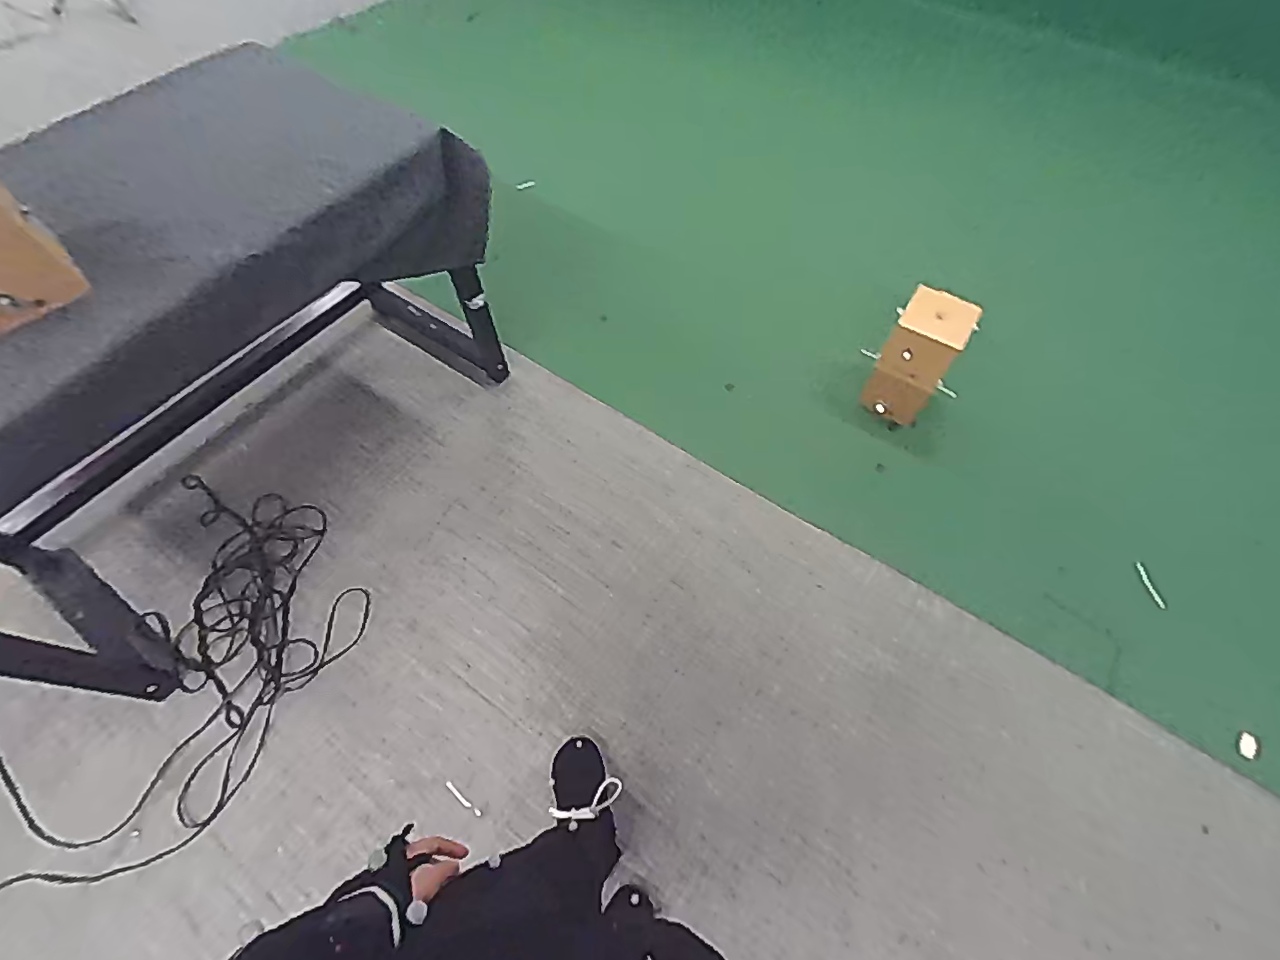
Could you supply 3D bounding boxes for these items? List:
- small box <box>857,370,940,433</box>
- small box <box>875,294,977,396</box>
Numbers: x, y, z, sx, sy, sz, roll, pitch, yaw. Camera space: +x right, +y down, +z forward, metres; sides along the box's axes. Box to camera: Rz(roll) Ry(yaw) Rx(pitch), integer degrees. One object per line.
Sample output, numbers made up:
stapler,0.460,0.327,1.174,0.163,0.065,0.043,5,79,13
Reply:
small box,0.767,-0.275,1.593,0.168,0.176,0.179,31,65,17
small box,0.759,-0.357,1.453,0.168,0.176,0.179,30,63,16
